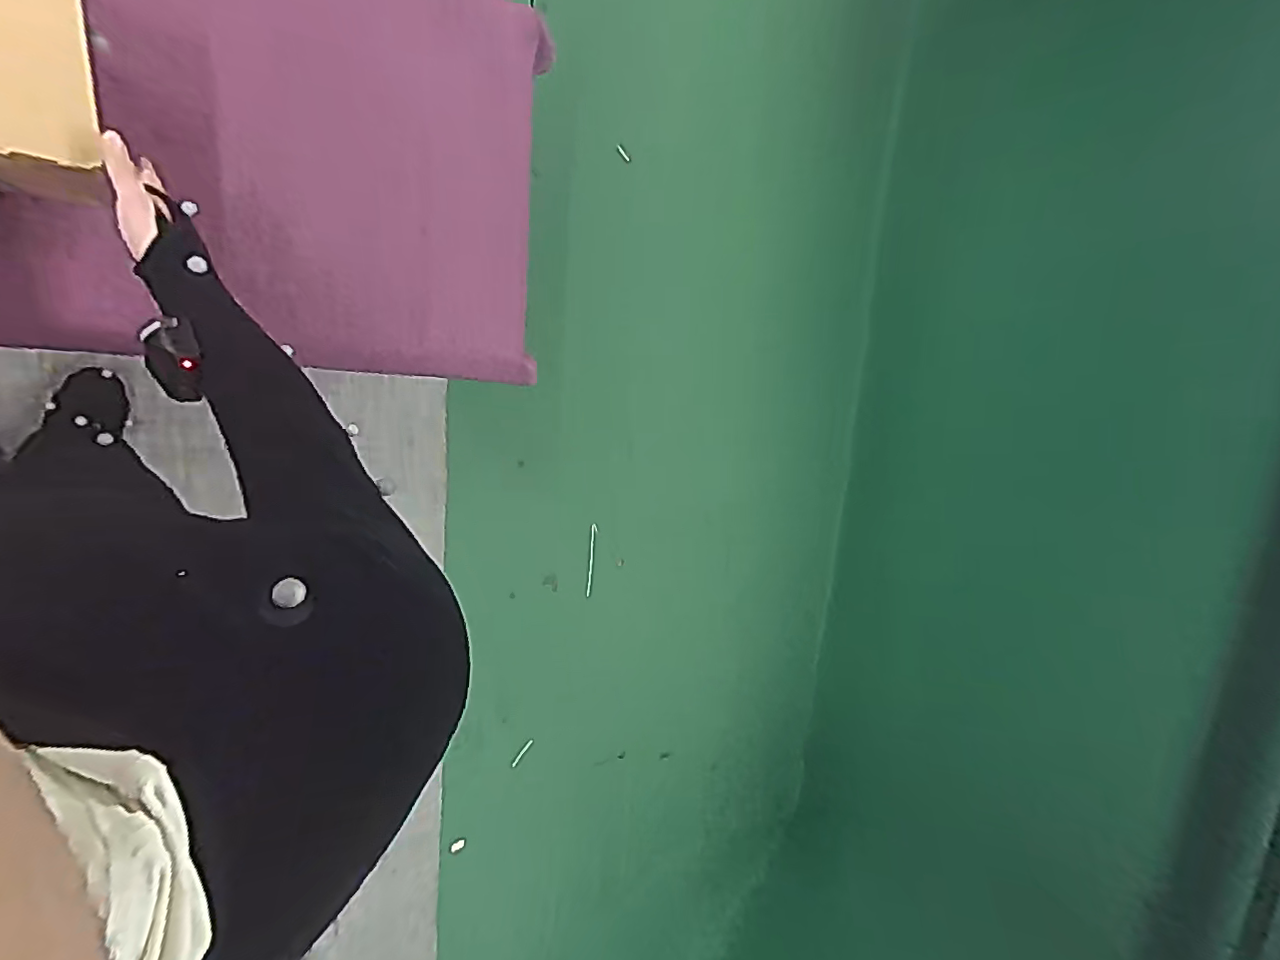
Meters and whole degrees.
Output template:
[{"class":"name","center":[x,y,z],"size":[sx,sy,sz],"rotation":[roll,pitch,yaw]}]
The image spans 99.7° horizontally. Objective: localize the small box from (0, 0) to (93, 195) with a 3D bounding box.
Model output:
[{"class":"small box","center":[-0.614,-0.379,0.478],"size":[0.168,0.176,0.179],"rotation":[-8,106,-45]}]
